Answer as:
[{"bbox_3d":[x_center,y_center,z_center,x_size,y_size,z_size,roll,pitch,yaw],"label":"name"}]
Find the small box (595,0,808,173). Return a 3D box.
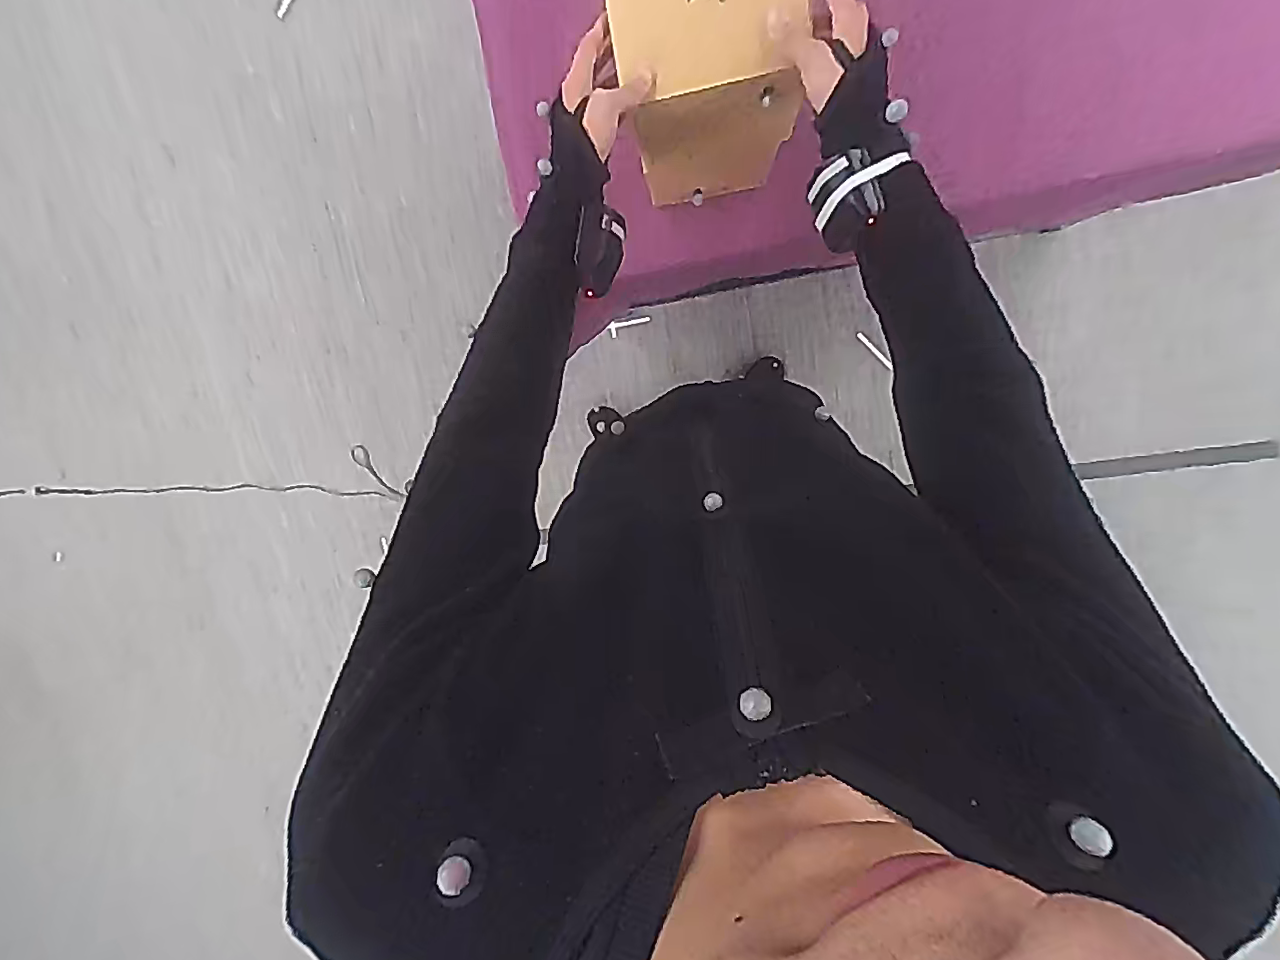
[{"bbox_3d":[0.058,-0.434,0.539,0.179,0.176,0.168,-9,101,9],"label":"small box"}]

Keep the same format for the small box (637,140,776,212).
[{"bbox_3d":[0.074,-0.472,0.696,0.168,0.176,0.179,-8,102,9],"label":"small box"}]
